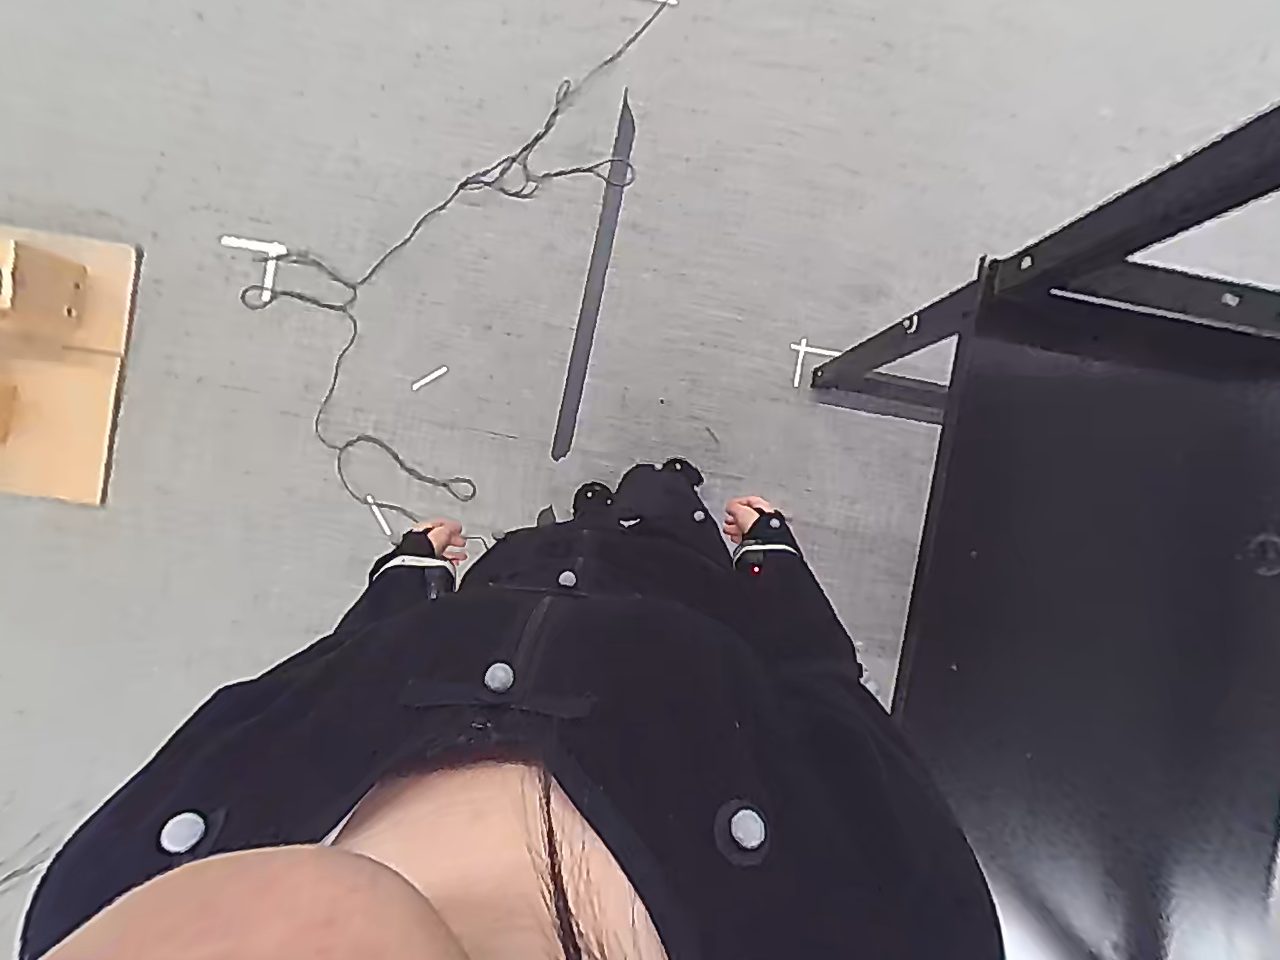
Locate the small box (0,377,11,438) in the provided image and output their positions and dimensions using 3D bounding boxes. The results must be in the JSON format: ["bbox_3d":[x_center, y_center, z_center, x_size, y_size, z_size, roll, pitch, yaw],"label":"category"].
[{"bbox_3d":[-1.716,-0.197,1.318,0.168,0.176,0.179,12,91,-3],"label":"small box"}]

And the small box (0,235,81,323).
[{"bbox_3d":[-1.540,-0.493,1.325,0.179,0.176,0.168,5,90,-2],"label":"small box"}]
